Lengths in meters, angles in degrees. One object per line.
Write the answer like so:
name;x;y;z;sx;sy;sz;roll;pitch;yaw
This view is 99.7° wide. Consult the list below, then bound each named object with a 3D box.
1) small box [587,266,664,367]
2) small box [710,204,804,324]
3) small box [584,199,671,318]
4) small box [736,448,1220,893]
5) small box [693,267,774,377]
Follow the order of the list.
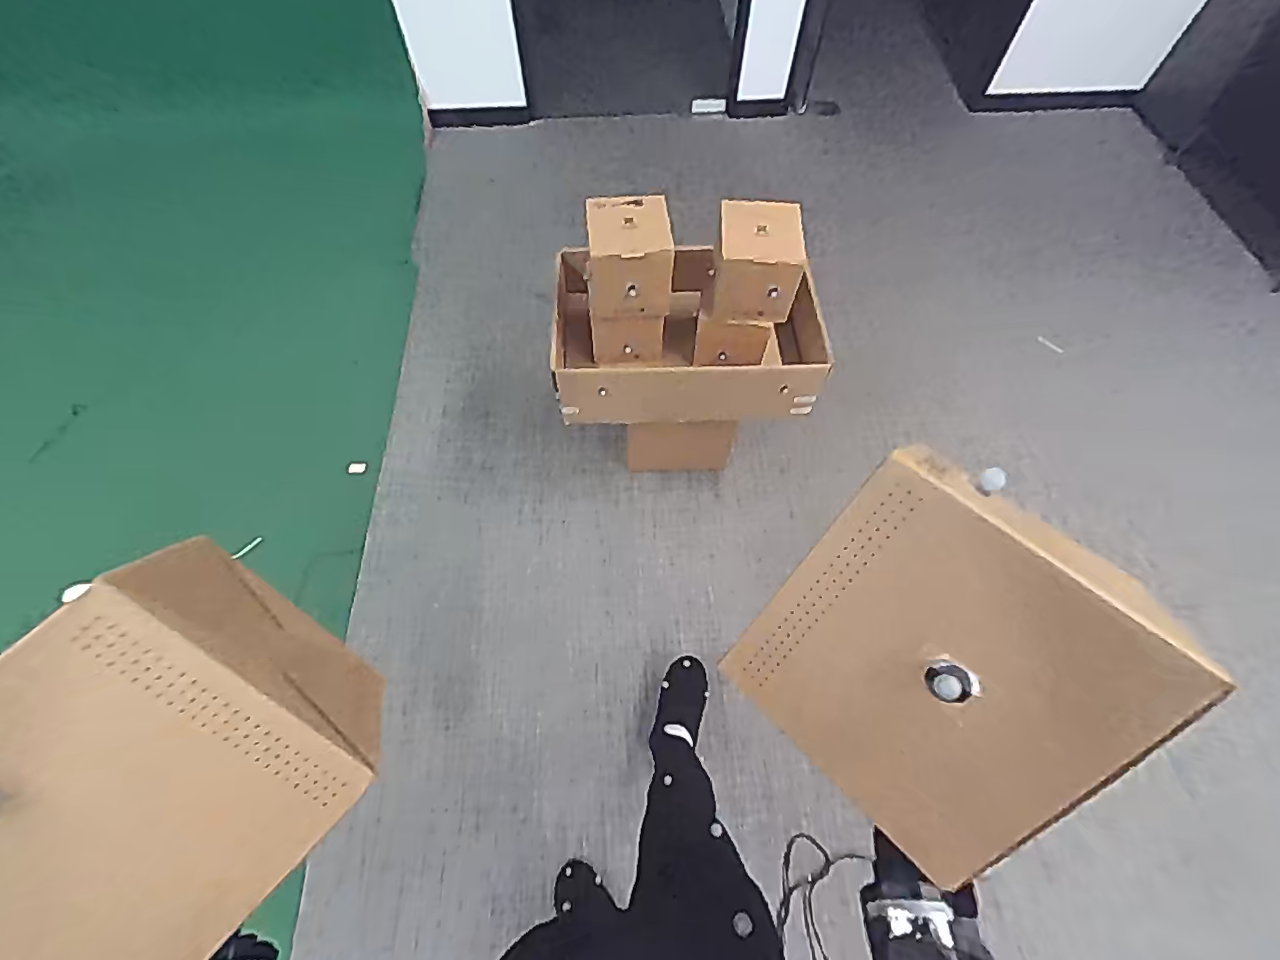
small box;-0.037;-0.395;1.297;0.168;0.176;0.179;-5;62;-2
small box;0.241;-0.453;1.146;0.168;0.176;0.179;3;62;1
small box;-0.027;-0.460;1.146;0.168;0.176;0.179;-4;63;-3
small box;0.184;0.098;0.353;0.176;0.168;0.179;40;113;23
small box;0.222;-0.374;1.289;0.168;0.176;0.179;7;63;4
